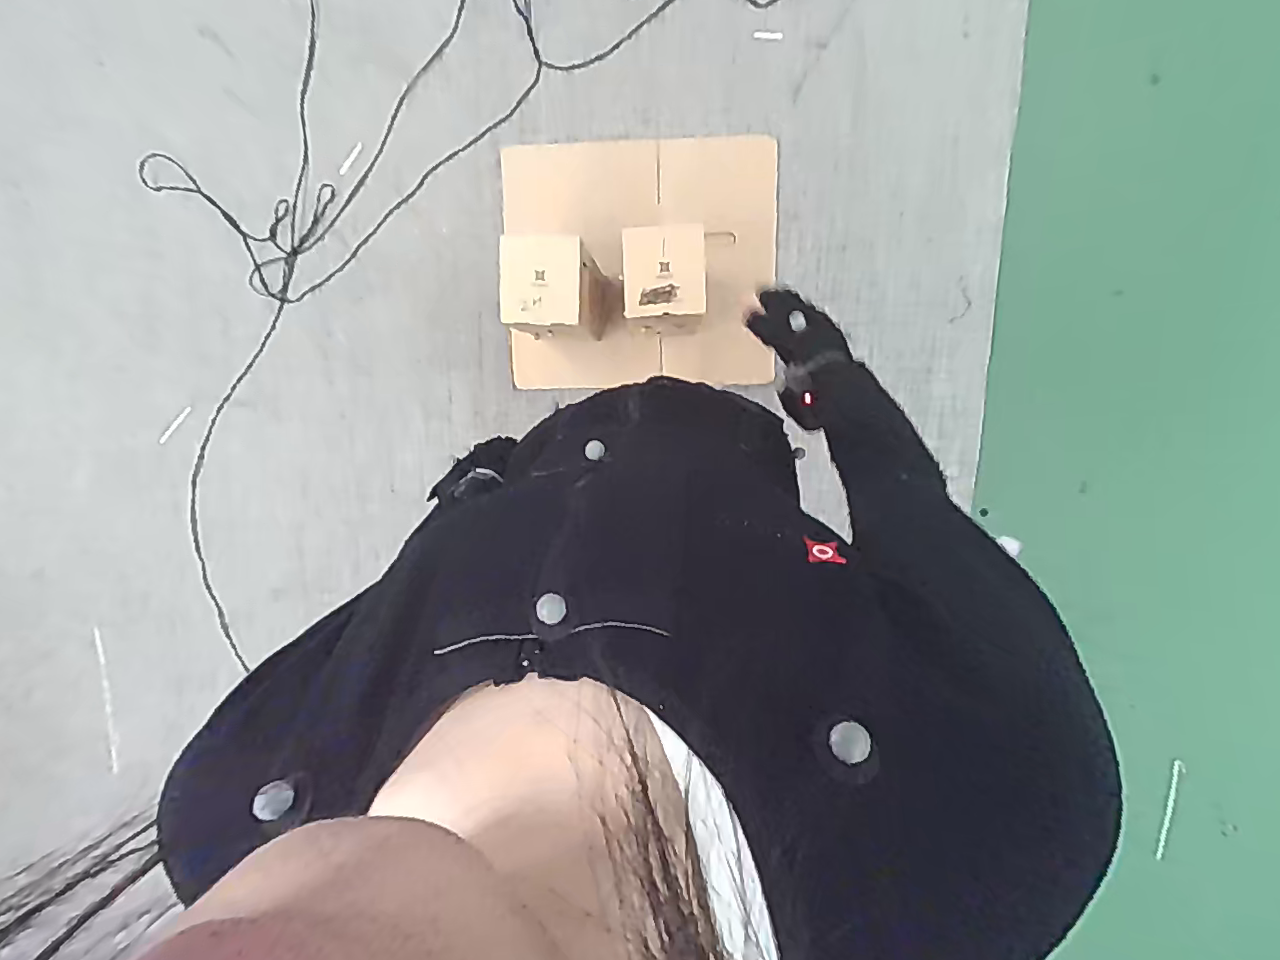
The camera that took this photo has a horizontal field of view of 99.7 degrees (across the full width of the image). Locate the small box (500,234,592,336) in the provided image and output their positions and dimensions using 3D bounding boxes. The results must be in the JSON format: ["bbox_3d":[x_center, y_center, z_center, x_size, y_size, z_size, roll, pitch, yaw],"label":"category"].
[{"bbox_3d":[-0.198,-0.415,1.170,0.168,0.176,0.179,2,99,3],"label":"small box"}]

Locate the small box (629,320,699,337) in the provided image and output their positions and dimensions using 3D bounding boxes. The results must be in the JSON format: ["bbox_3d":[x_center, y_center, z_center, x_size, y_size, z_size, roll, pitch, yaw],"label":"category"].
[{"bbox_3d":[0.055,-0.452,1.322,0.168,0.176,0.179,-2,99,3],"label":"small box"}]

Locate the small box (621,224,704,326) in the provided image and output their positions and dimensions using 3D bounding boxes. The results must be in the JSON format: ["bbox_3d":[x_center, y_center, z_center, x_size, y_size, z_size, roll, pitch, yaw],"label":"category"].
[{"bbox_3d":[0.050,-0.429,1.159,0.168,0.176,0.179,-2,98,3],"label":"small box"}]
